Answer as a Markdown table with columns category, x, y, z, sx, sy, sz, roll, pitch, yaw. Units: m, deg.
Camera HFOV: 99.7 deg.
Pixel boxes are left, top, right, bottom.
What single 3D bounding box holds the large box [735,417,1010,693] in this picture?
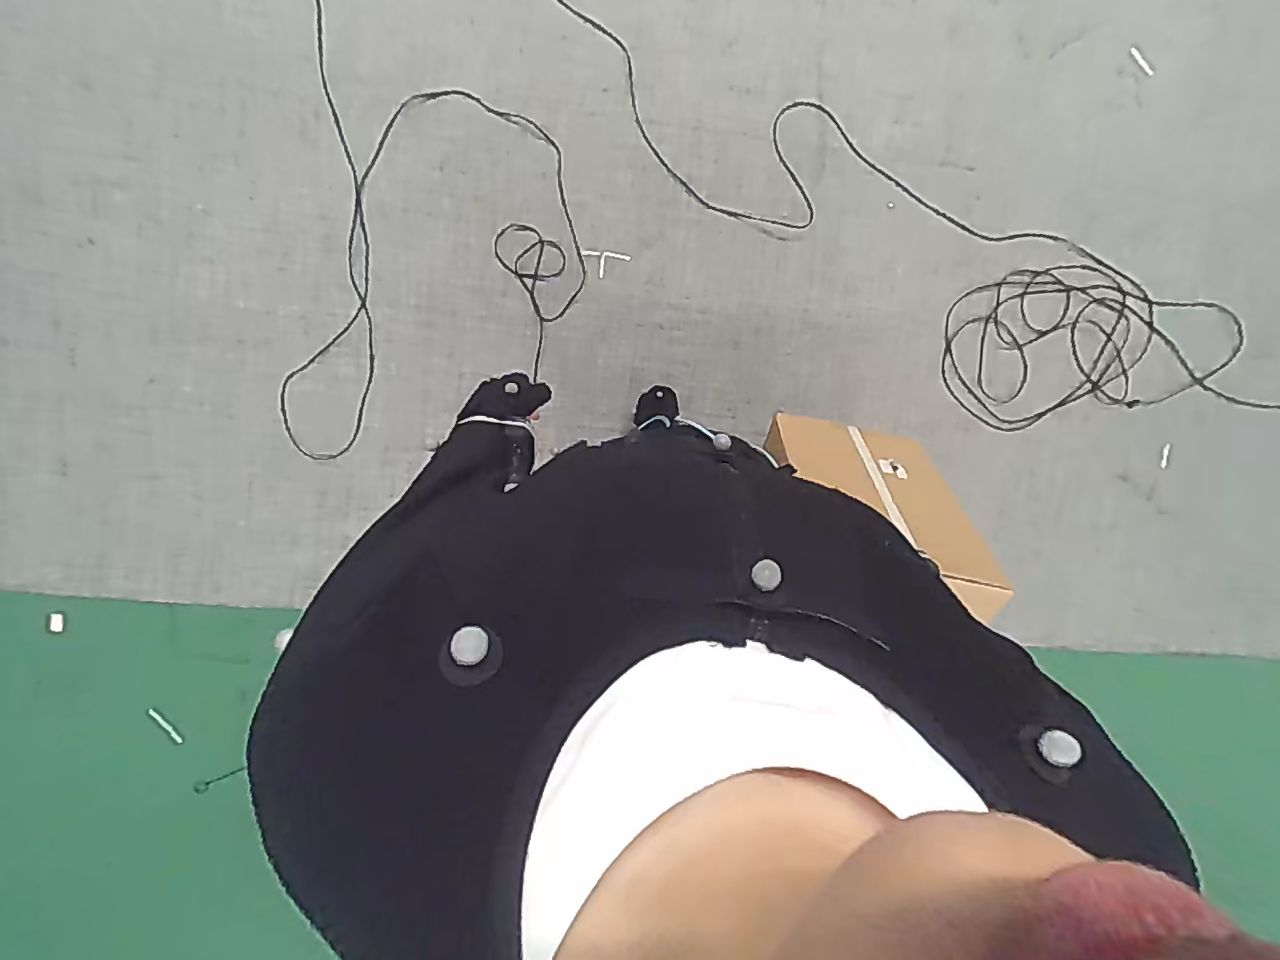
| category | x | y | z | sx | sy | sz | roll | pitch | yaw |
| --- | --- | --- | --- | --- | --- | --- | --- | --- | --- |
| large box | 0.386 | 0.132 | 1.036 | 0.320 | 0.408 | 0.320 | 12 | 126 | -4 |
